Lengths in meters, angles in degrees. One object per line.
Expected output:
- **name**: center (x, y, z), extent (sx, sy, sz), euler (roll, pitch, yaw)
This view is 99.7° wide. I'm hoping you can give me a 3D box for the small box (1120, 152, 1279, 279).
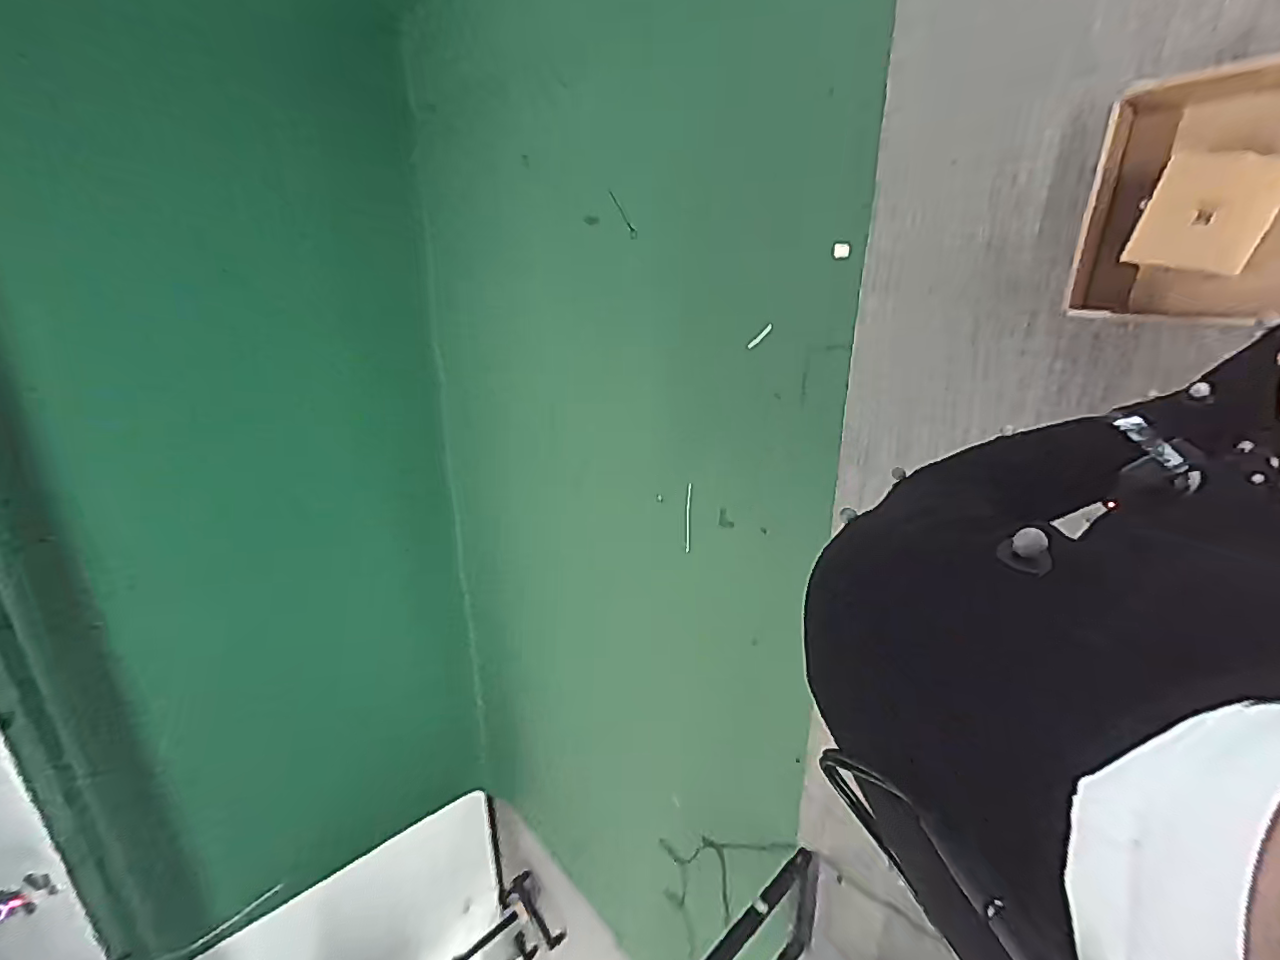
- **small box**: center (1.011, -0.464, 0.960), extent (0.168, 0.176, 0.179), euler (33, 124, 38)
